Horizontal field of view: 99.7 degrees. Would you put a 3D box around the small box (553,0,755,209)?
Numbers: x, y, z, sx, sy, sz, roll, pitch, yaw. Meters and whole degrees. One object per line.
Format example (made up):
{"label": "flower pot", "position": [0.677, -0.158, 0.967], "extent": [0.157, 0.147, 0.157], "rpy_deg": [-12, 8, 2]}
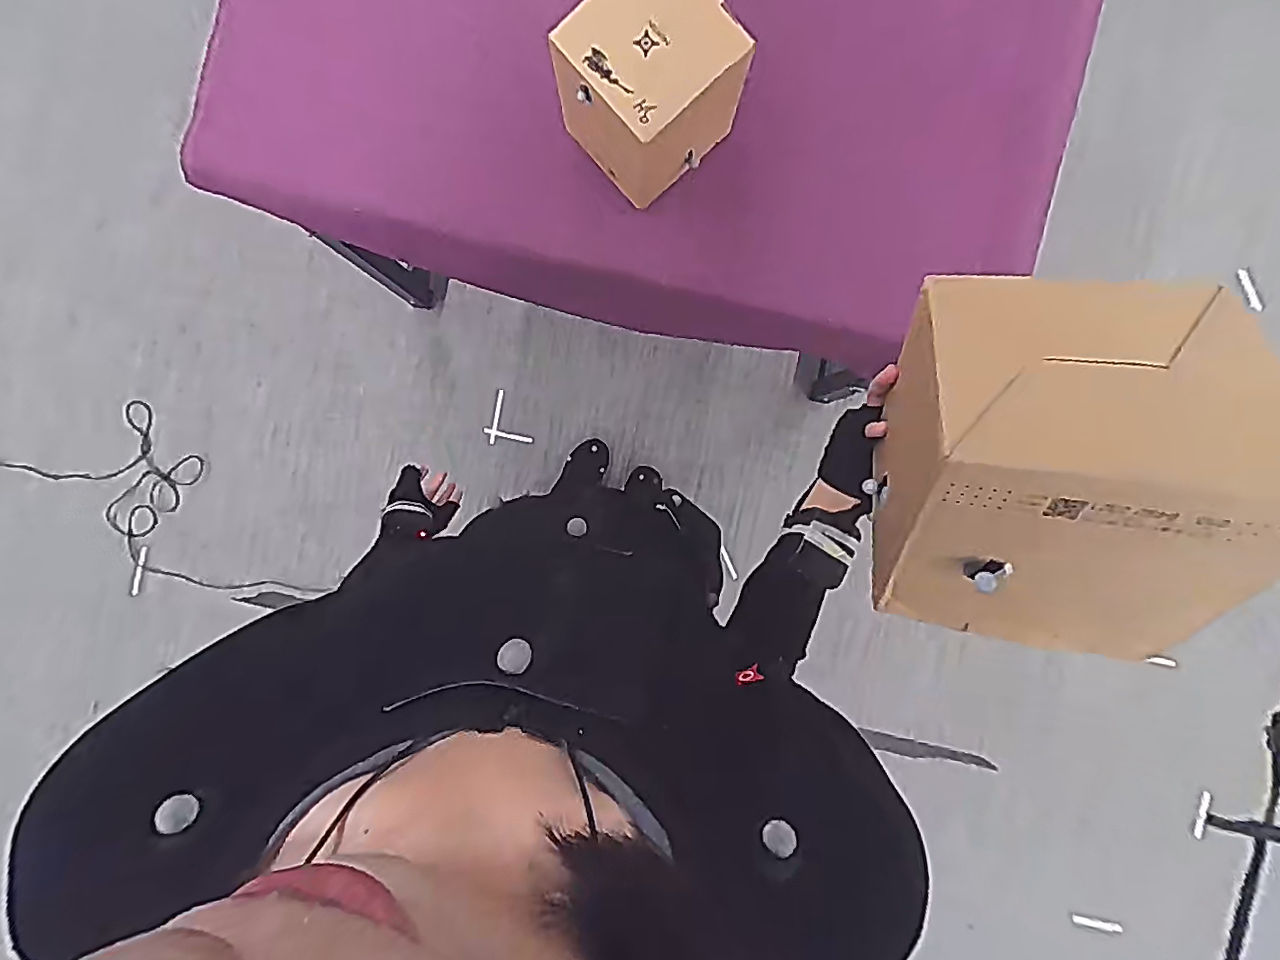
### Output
{"label": "small box", "position": [0.012, -0.495, 0.687], "extent": [0.179, 0.176, 0.168], "rpy_deg": [-42, 92, -1]}

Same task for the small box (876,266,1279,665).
{"label": "small box", "position": [0.255, -0.014, 0.341], "extent": [0.168, 0.176, 0.179], "rpy_deg": [9, 52, 14]}
